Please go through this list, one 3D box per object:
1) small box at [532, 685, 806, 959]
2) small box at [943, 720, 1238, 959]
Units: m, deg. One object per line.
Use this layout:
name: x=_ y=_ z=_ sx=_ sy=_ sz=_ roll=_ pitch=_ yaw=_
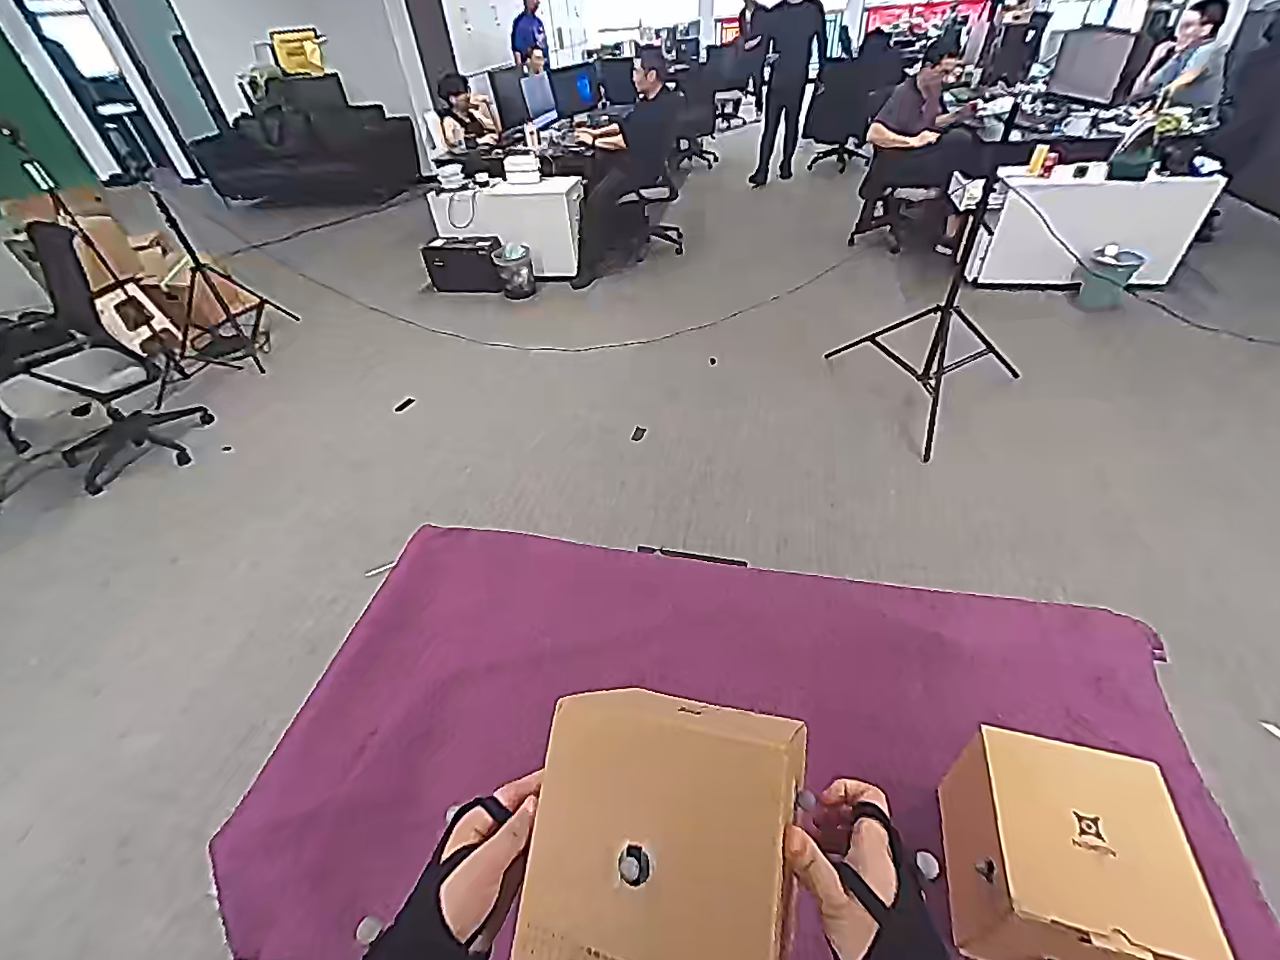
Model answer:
small box: x=0.033 y=0.263 z=0.417 sx=0.168 sy=0.179 sz=0.176 roll=4 pitch=72 yaw=21
small box: x=0.438 y=0.393 z=0.570 sx=0.168 sy=0.176 sz=0.179 roll=8 pitch=42 yaw=15
